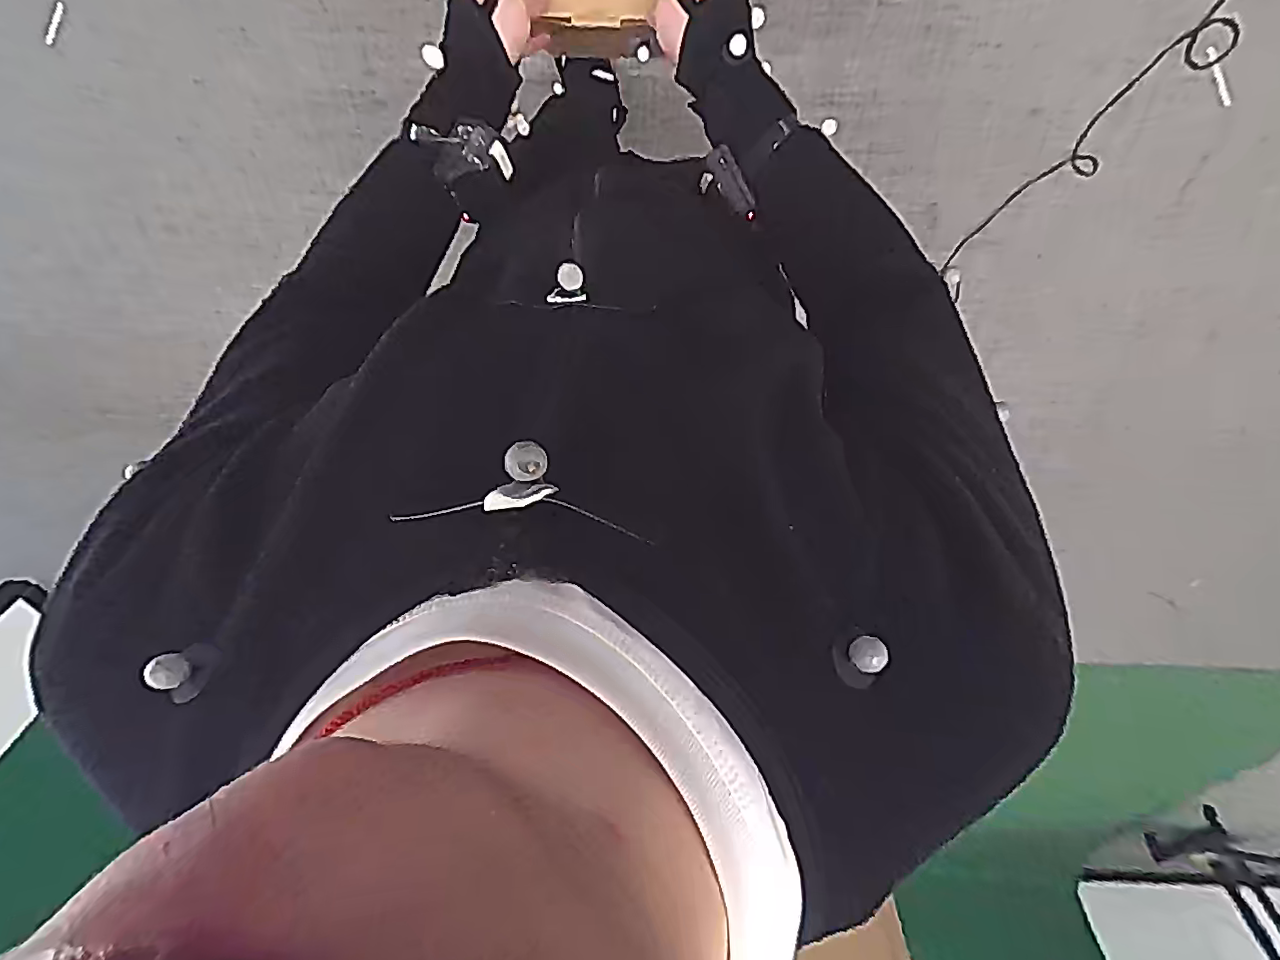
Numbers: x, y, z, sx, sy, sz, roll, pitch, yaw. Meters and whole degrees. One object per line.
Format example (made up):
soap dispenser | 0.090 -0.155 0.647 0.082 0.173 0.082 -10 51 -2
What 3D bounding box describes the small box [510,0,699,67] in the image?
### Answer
small box | -0.023 -0.508 0.504 0.168 0.176 0.179 4 119 2
